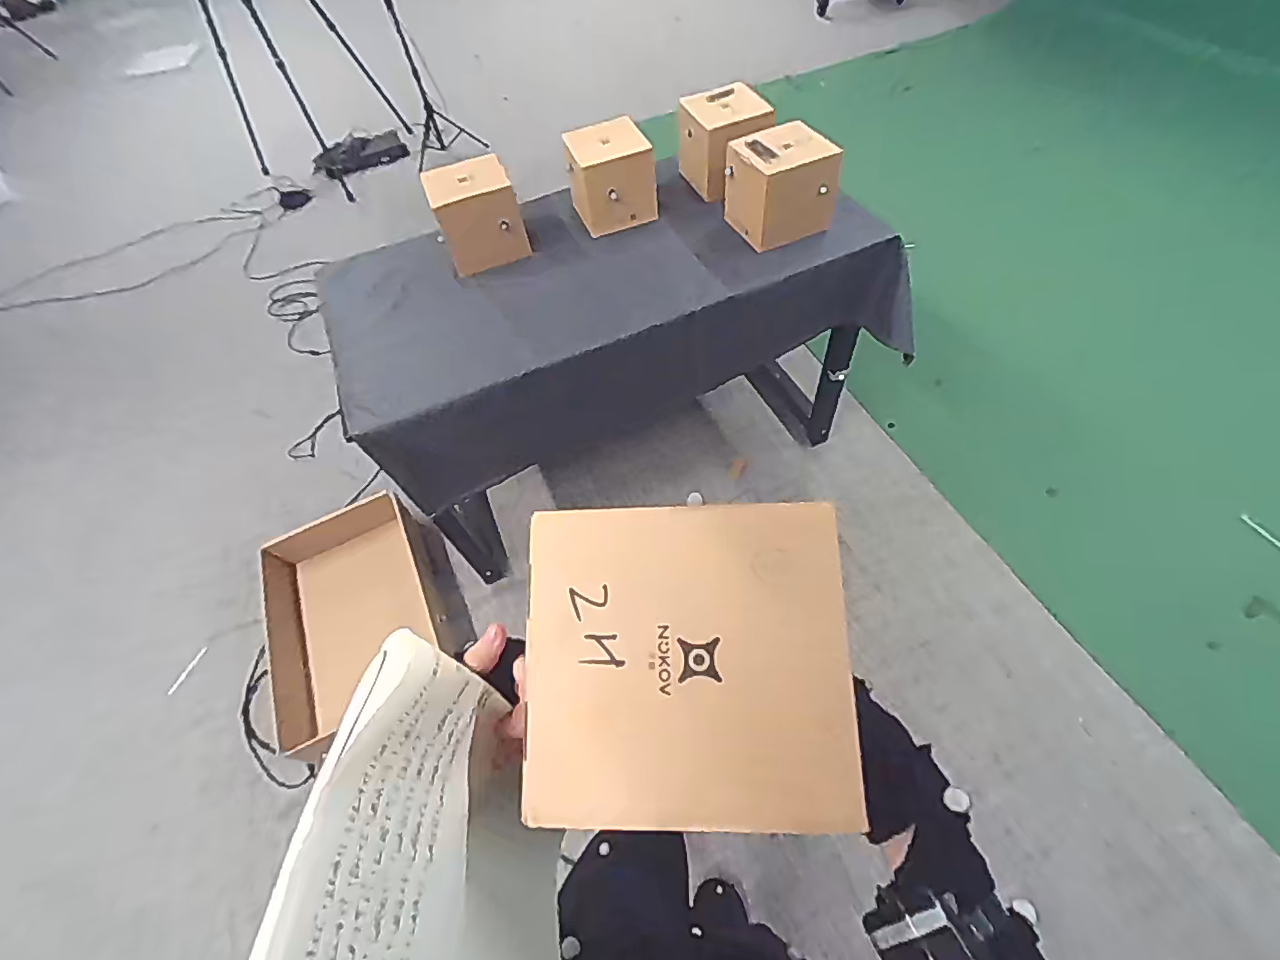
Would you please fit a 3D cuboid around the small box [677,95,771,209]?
[{"bbox_3d":[0.196,-0.791,1.309,0.168,0.176,0.179,-20,57,-7],"label":"small box"}]

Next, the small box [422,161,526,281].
[{"bbox_3d":[-0.370,-0.585,1.229,0.179,0.176,0.168,-20,56,-9],"label":"small box"}]

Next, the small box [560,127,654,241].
[{"bbox_3d":[-0.072,-0.688,1.271,0.168,0.176,0.179,-20,56,-7],"label":"small box"}]
